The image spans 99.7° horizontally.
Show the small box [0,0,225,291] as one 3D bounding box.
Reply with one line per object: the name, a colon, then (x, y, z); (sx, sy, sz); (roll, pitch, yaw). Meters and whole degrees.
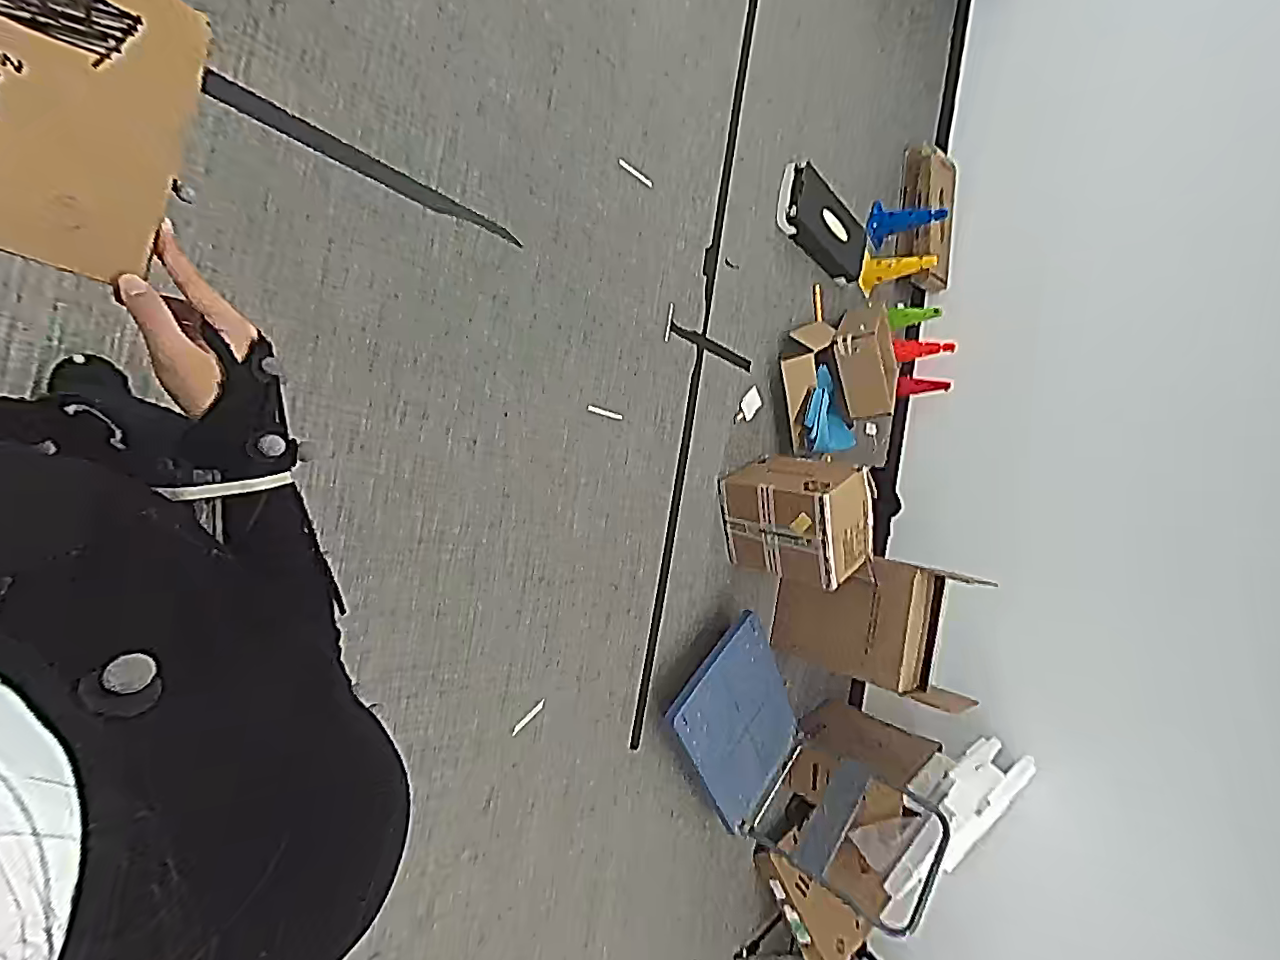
small box: (-0.393, -0.238, 0.339); (0.168, 0.176, 0.179); (16, 95, -44)
